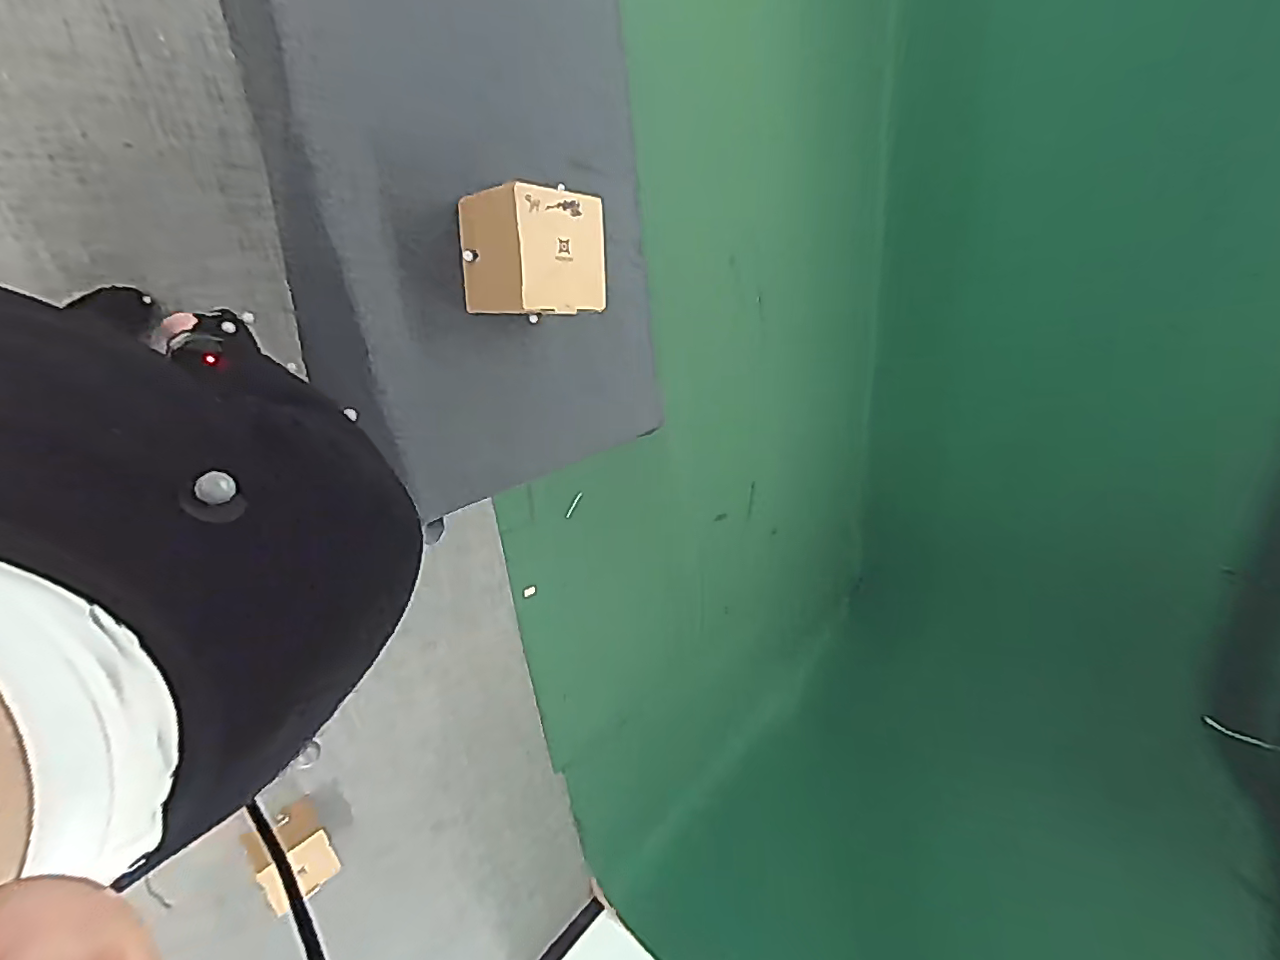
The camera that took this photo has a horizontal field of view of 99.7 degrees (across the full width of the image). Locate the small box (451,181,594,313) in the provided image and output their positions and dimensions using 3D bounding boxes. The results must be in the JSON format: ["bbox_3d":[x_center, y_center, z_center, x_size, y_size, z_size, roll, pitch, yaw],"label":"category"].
[{"bbox_3d":[-0.193,-0.369,0.889,0.168,0.176,0.179,-16,114,-44],"label":"small box"}]

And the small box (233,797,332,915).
[{"bbox_3d":[-0.998,1.038,1.511,0.168,0.176,0.179,-25,119,-43],"label":"small box"}]
